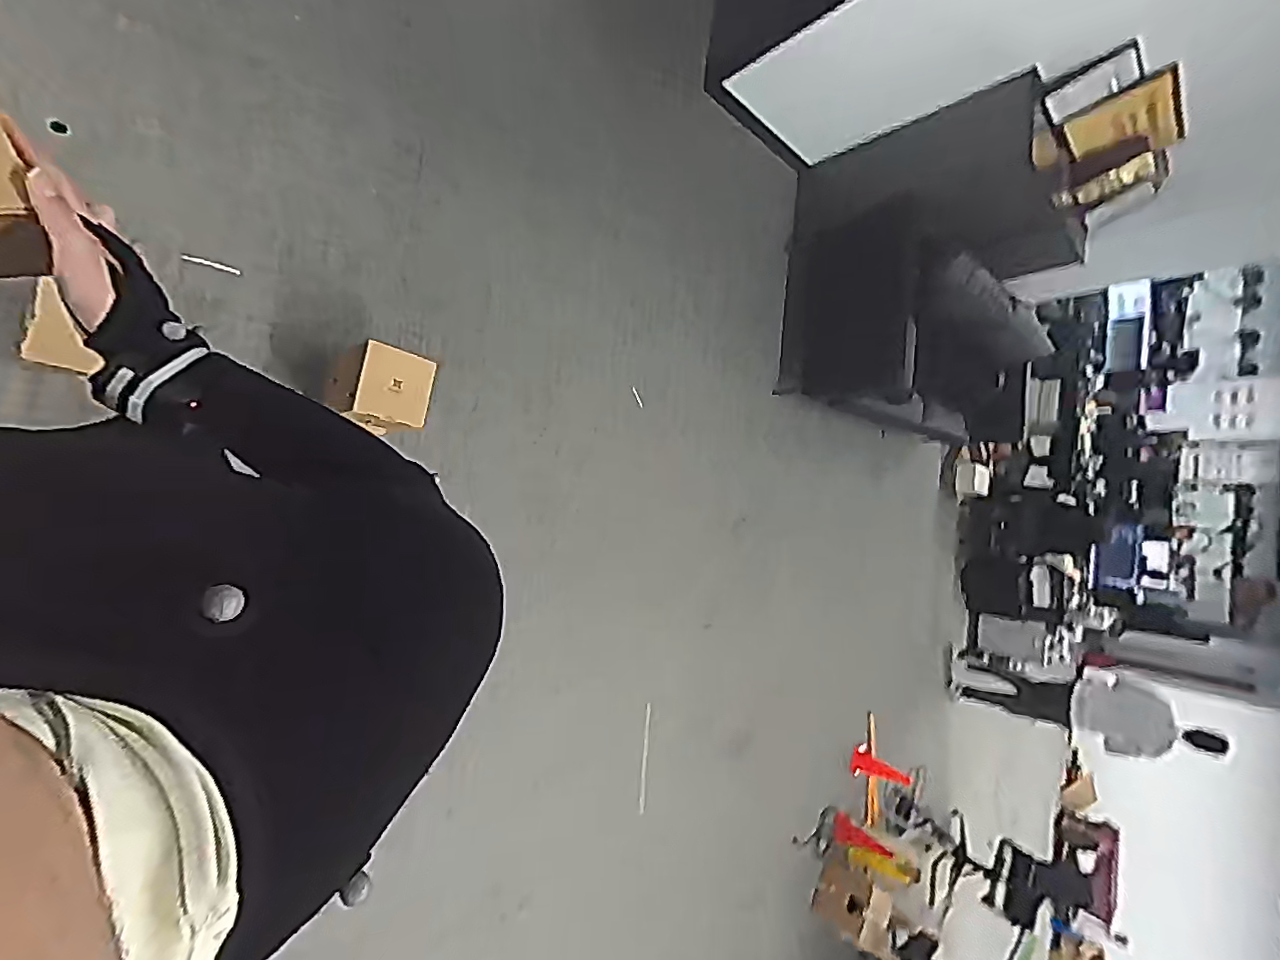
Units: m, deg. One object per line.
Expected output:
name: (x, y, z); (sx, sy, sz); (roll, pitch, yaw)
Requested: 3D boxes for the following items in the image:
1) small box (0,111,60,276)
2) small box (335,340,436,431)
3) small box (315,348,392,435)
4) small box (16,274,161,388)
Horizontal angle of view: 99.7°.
small box: (-0.557, -0.243, 0.376); (0.168, 0.176, 0.179); (-27, 110, -41)
small box: (-0.639, -0.228, 1.350); (0.168, 0.176, 0.179); (16, 82, -43)
small box: (-0.754, -0.232, 1.462); (0.168, 0.176, 0.179); (22, 78, -39)
small box: (-1.126, -0.295, 1.117); (0.179, 0.176, 0.168); (15, 83, -43)
